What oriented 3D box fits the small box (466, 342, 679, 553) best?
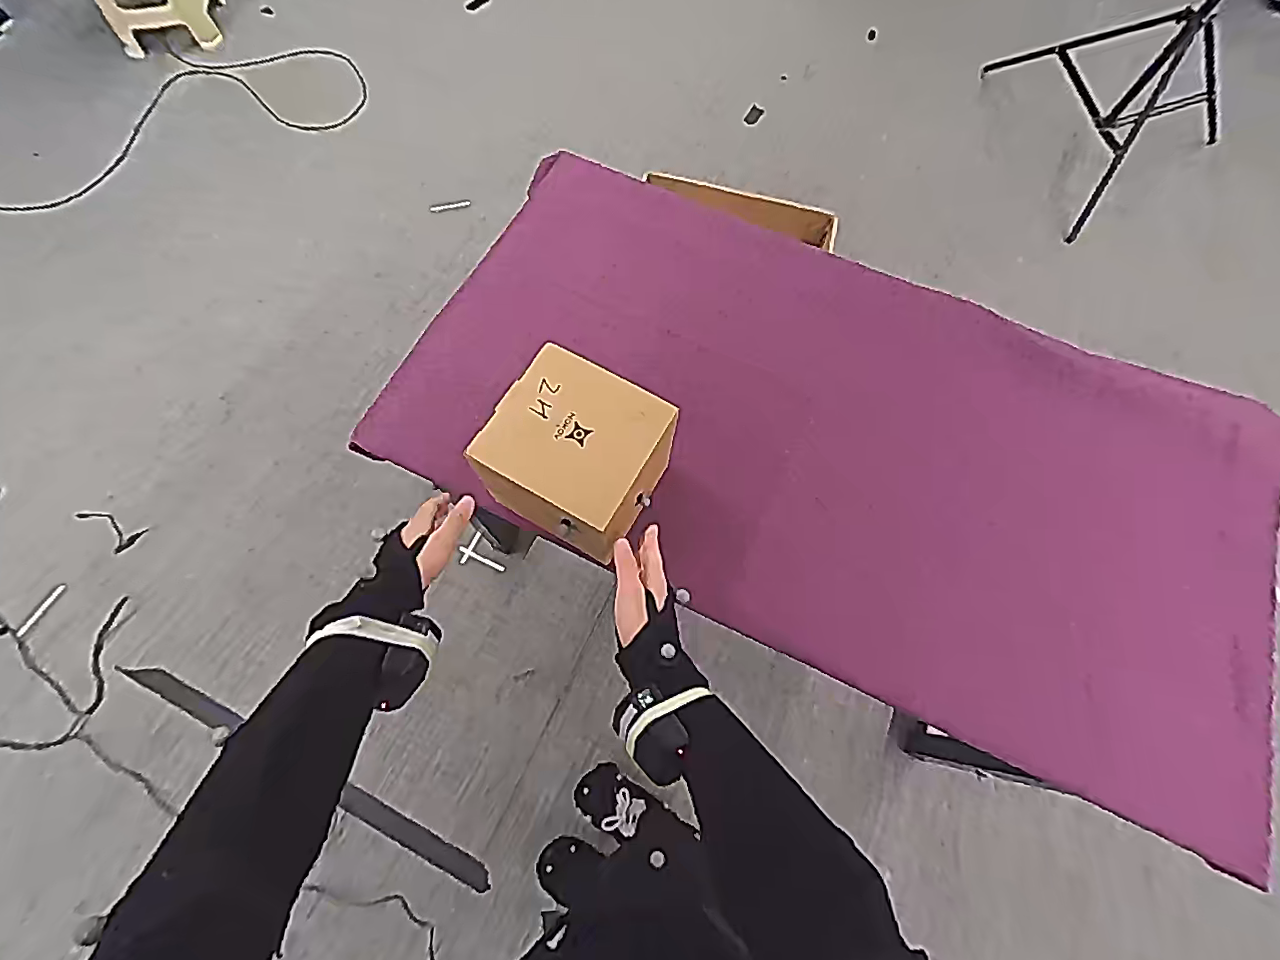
[{"bbox_3d":[-0.072,-0.027,0.656,0.179,0.176,0.168,28,71,9],"label":"small box"}]
